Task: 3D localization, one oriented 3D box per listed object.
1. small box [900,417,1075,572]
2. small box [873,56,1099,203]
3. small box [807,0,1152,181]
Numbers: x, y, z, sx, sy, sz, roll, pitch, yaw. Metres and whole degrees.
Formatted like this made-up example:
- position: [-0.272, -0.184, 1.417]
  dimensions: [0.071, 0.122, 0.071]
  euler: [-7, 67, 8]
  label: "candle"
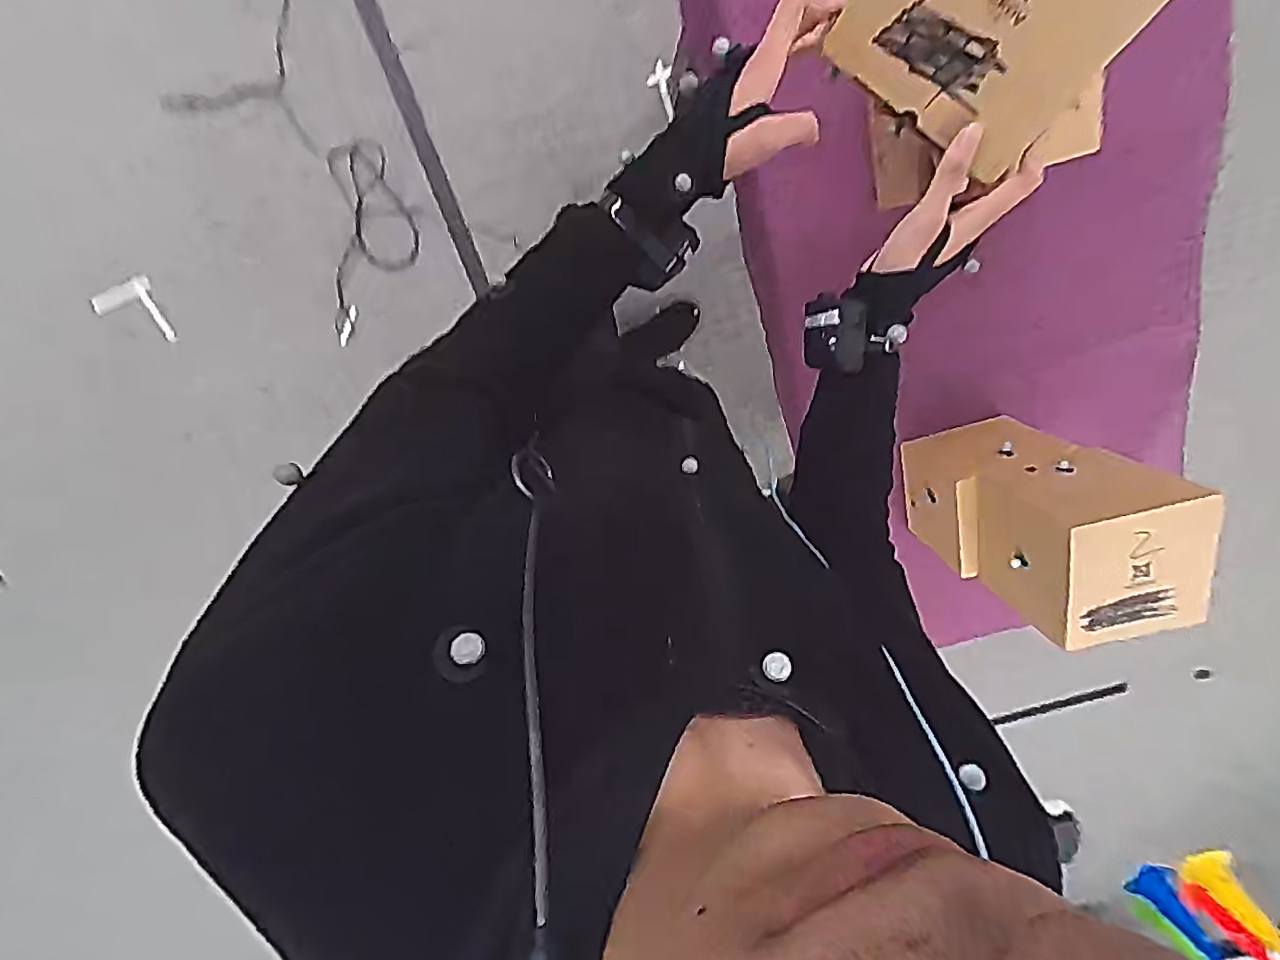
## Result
- position: [0.528, 0.016, 0.846]
  dimensions: [0.179, 0.176, 0.168]
  euler: [-15, 112, 3]
  label: "small box"
- position: [0.395, -0.446, 0.647]
  dimensions: [0.179, 0.176, 0.168]
  euler: [-15, 113, 4]
  label: "small box"
- position: [0.244, -0.366, 0.399]
  dimensions: [0.168, 0.176, 0.179]
  euler: [29, 131, -12]
  label: "small box"
